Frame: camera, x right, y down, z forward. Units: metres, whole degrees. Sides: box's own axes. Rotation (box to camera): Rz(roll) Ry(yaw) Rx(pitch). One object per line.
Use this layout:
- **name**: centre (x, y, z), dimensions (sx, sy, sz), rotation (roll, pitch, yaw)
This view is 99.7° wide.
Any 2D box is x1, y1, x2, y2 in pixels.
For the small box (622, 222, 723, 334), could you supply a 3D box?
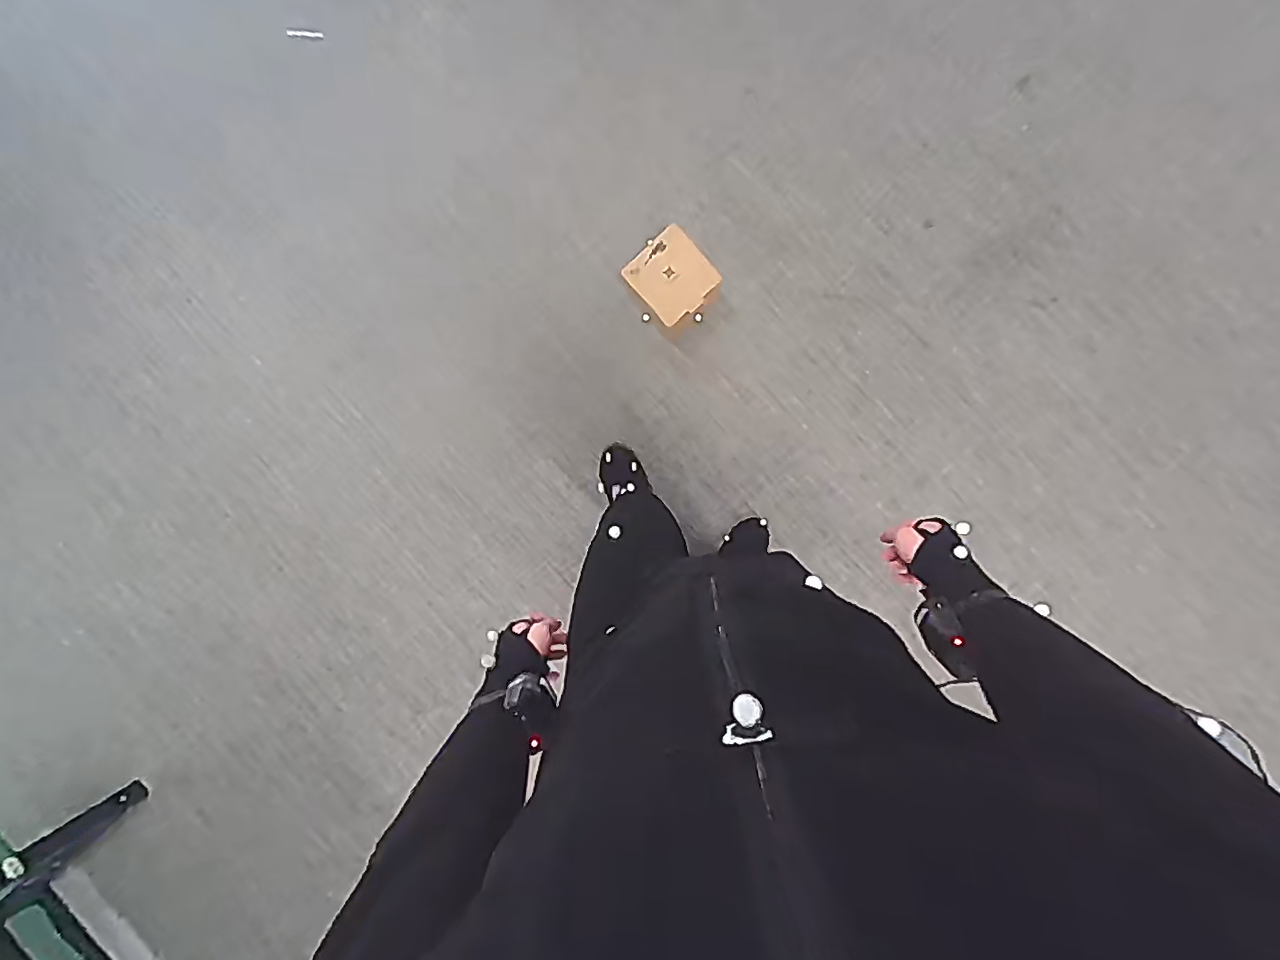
- **small box**: centre (0.080, -0.470, 1.298), dimensions (0.168, 0.176, 0.179), rotation (-40, 90, 5)
